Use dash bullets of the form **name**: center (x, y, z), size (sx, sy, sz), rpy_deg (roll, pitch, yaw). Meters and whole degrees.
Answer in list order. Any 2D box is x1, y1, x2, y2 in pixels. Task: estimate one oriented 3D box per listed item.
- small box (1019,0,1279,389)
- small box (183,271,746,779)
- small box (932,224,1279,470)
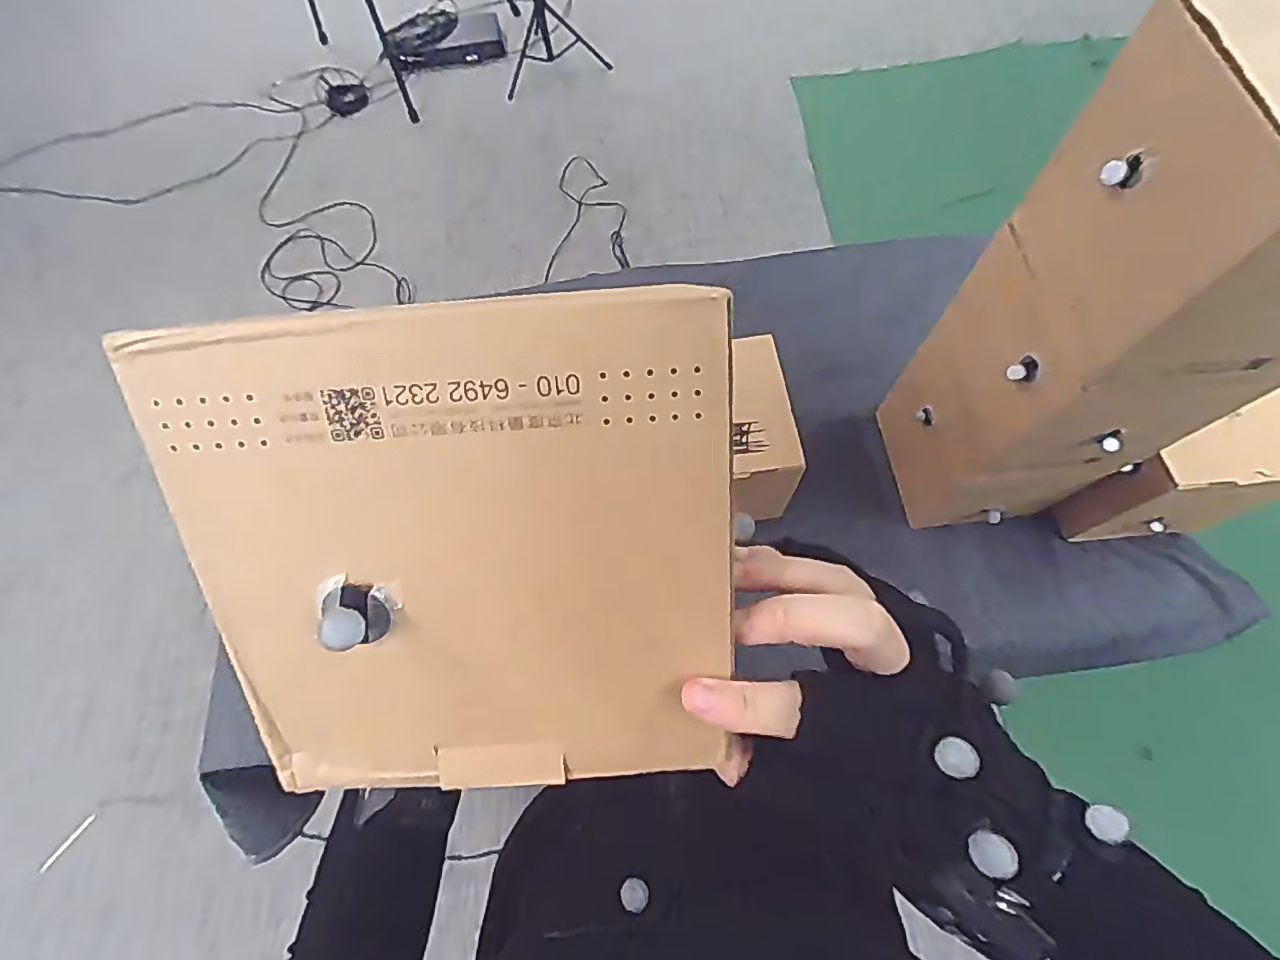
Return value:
- **small box**: center (0.394, -0.181, 0.354), size (0.168, 0.176, 0.179), rpy_deg (-4, 66, 4)
- **small box**: center (-0.050, -0.001, 0.252), size (0.168, 0.179, 0.176), rpy_deg (-3, 110, 0)
- **small box**: center (0.408, -0.118, 0.505), size (0.168, 0.176, 0.179), rpy_deg (-5, 66, 2)
